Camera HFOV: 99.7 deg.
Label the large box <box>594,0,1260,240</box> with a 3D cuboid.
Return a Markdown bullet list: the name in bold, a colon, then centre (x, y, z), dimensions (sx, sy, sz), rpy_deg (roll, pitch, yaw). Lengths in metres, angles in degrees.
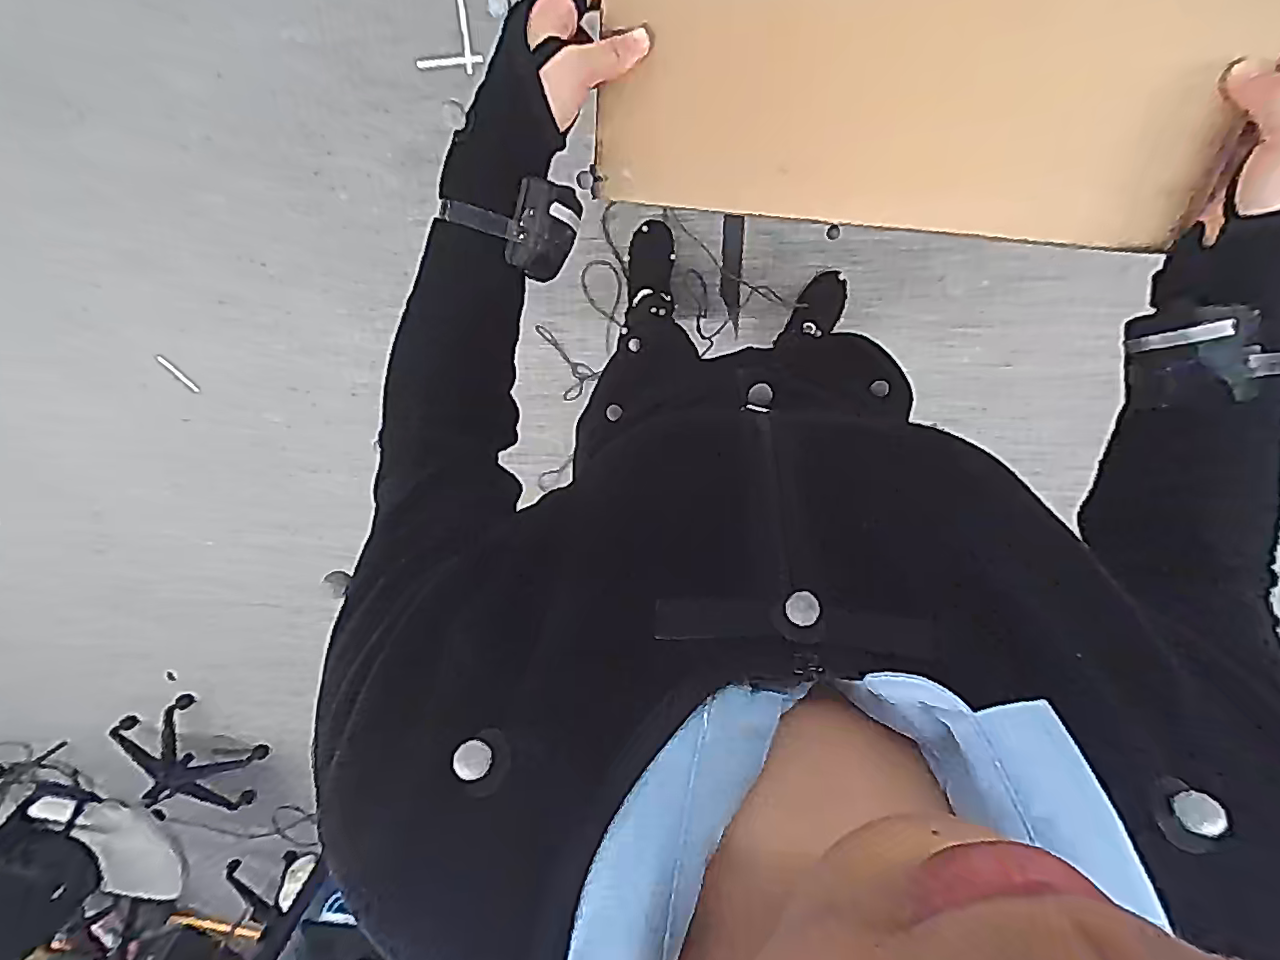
- **large box**: centre (0.199, -0.394, 0.459), dimensions (0.408, 0.320, 0.320), rpy_deg (9, 117, 9)
